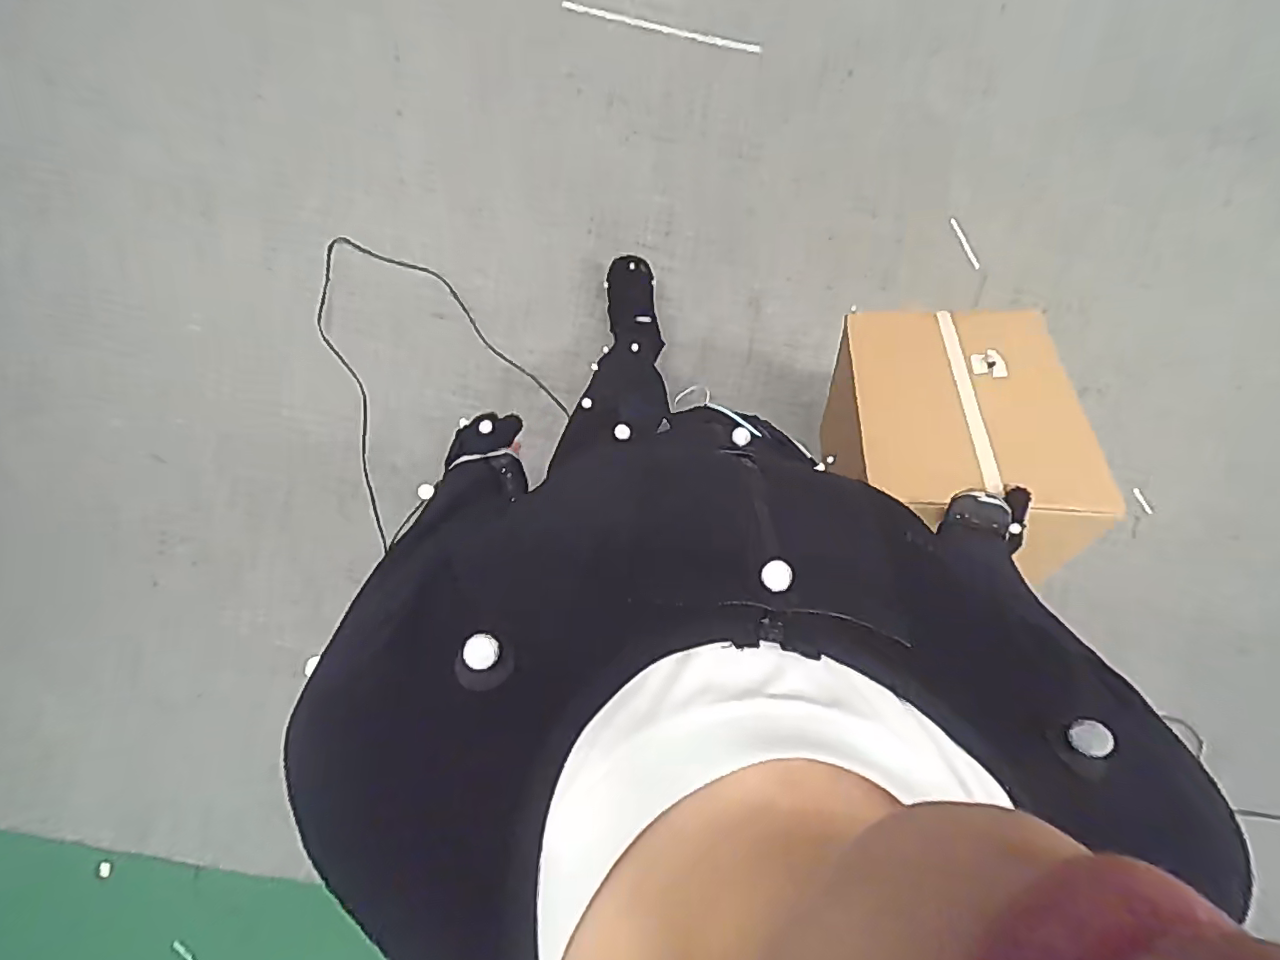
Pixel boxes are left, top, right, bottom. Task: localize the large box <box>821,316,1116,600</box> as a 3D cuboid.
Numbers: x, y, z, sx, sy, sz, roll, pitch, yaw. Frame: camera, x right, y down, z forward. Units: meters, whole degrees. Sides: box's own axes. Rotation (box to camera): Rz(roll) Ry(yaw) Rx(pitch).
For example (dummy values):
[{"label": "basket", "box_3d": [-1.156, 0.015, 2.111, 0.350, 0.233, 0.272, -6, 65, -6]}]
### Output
[{"label": "large box", "box_3d": [0.511, -0.037, 0.957, 0.320, 0.408, 0.320, 3, 144, 9]}]
